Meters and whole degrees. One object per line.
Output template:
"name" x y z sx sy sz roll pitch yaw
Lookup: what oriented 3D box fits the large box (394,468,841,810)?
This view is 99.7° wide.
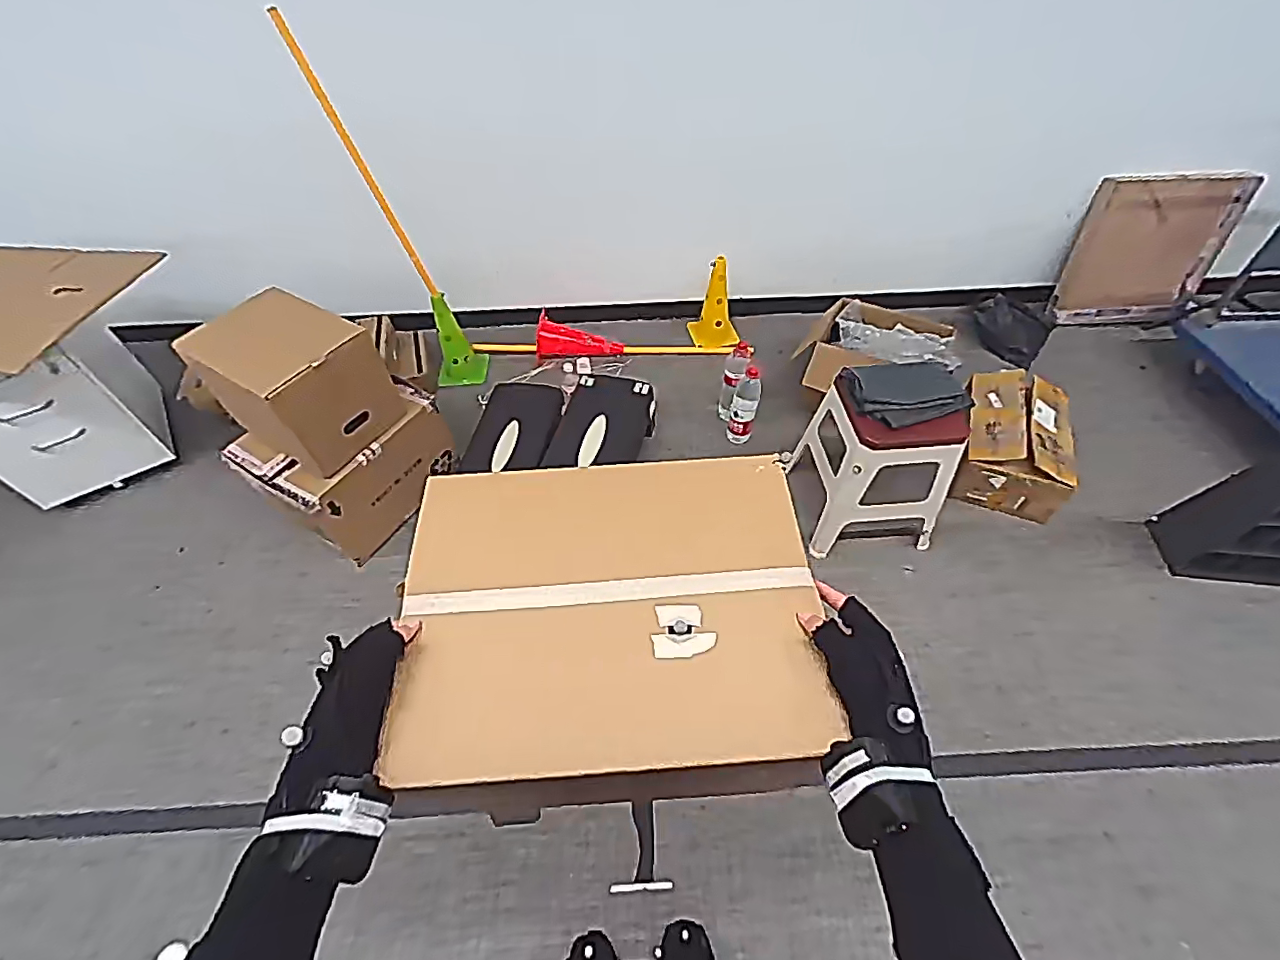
"large box" -0.028 0.208 0.677 0.408 0.320 0.320 -3 56 -2
